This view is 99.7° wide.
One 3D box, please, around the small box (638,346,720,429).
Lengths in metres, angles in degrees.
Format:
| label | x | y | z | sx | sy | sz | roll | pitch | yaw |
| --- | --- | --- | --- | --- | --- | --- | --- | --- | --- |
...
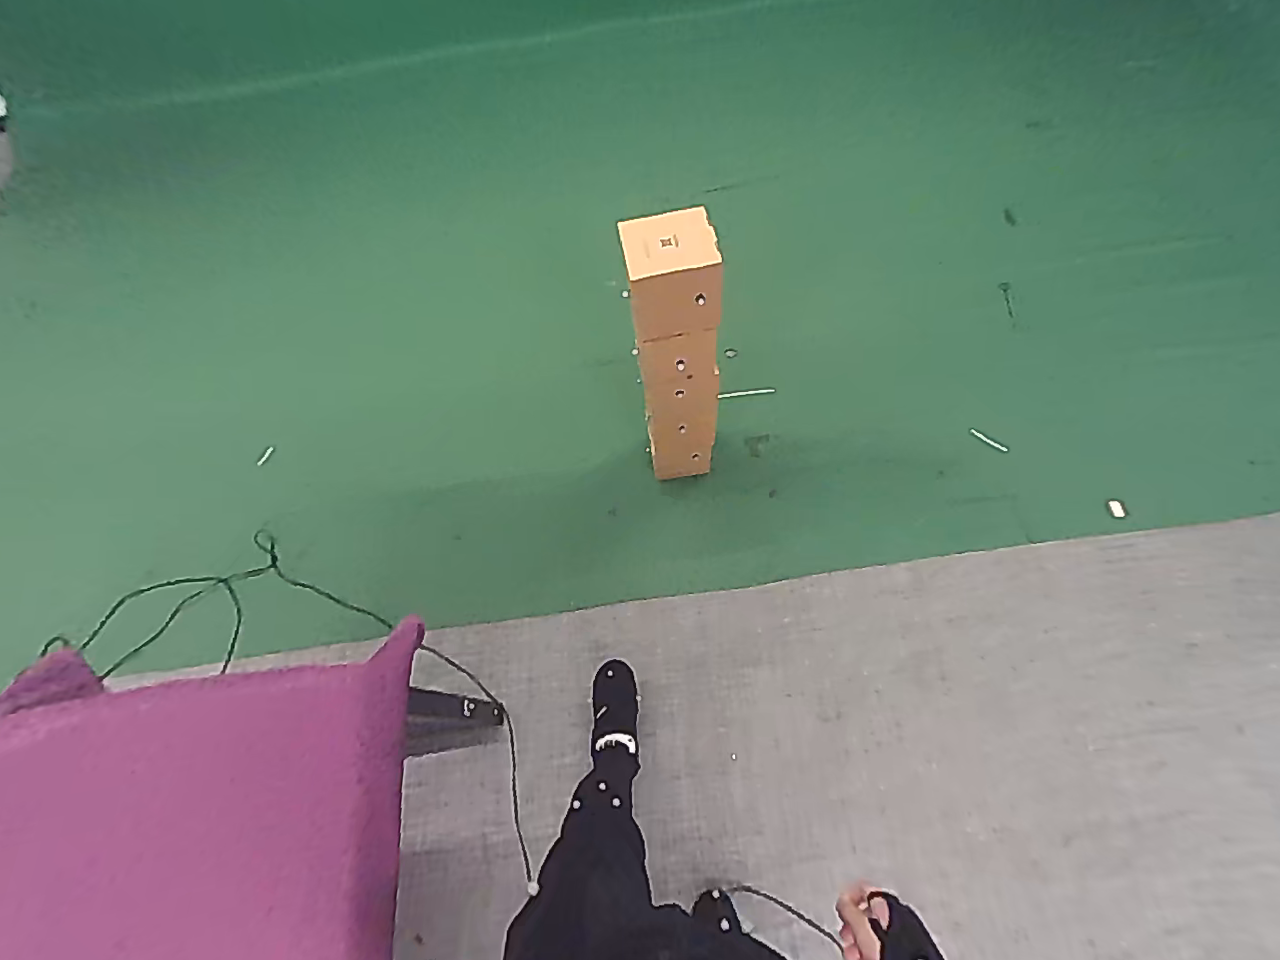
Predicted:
| label | x | y | z | sx | sy | sz | roll | pitch | yaw |
| --- | --- | --- | --- | --- | --- | --- | --- | --- | --- |
| small box | 0.102 | -0.251 | 1.389 | 0.179 | 0.176 | 0.168 | -12 | 63 | -1 |

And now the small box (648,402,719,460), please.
| label | x | y | z | sx | sy | sz | roll | pitch | yaw |
| --- | --- | --- | --- | --- | --- | --- | --- | --- | --- |
| small box | 0.120 | -0.176 | 1.534 | 0.179 | 0.176 | 0.168 | -11 | 63 | 1 |

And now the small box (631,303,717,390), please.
| label | x | y | z | sx | sy | sz | roll | pitch | yaw |
| --- | --- | --- | --- | --- | --- | --- | --- | --- | --- |
| small box | 0.079 | -0.324 | 1.245 | 0.168 | 0.176 | 0.179 | -11 | 64 | 0 |

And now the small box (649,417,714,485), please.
| label | x | y | z | sx | sy | sz | roll | pitch | yaw |
| --- | --- | --- | --- | --- | --- | --- | --- | --- | --- |
| small box | 0.128 | -0.100 | 1.677 | 0.179 | 0.176 | 0.168 | -9 | 63 | 1 |

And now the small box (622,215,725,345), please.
| label | x | y | z | sx | sy | sz | roll | pitch | yaw |
| --- | --- | --- | --- | --- | --- | --- | --- | --- | --- |
| small box | 0.067 | -0.400 | 1.100 | 0.179 | 0.176 | 0.168 | -11 | 62 | 1 |
